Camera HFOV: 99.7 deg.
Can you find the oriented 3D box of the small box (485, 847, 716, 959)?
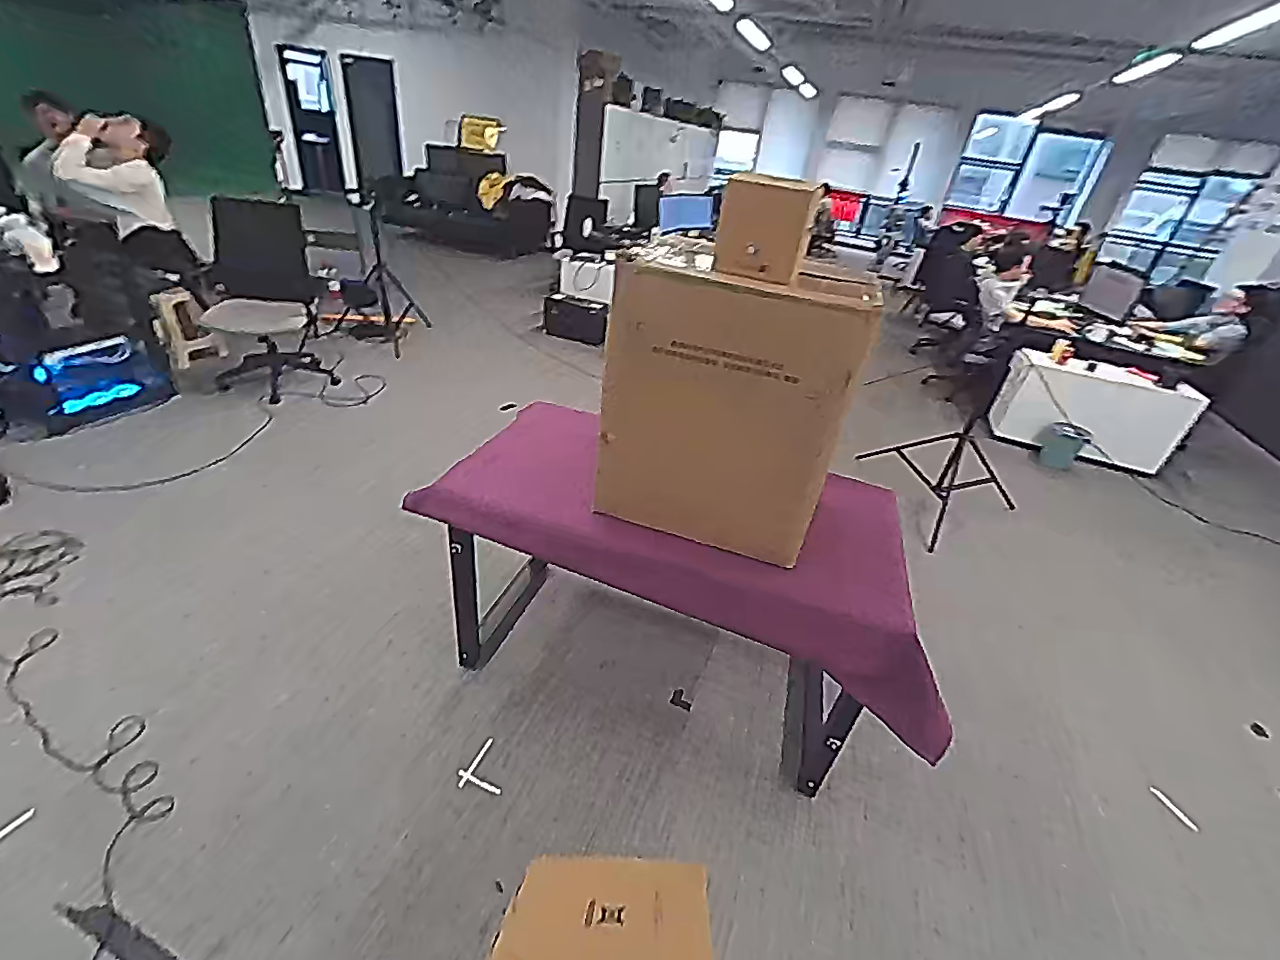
[{"bbox_3d":[-0.026,0.445,0.452,0.179,0.176,0.168,1,-5,4],"label":"small box"}]

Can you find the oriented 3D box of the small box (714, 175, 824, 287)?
[{"bbox_3d":[0.257,-0.504,1.091,0.168,0.176,0.179,17,36,14],"label":"small box"}]
